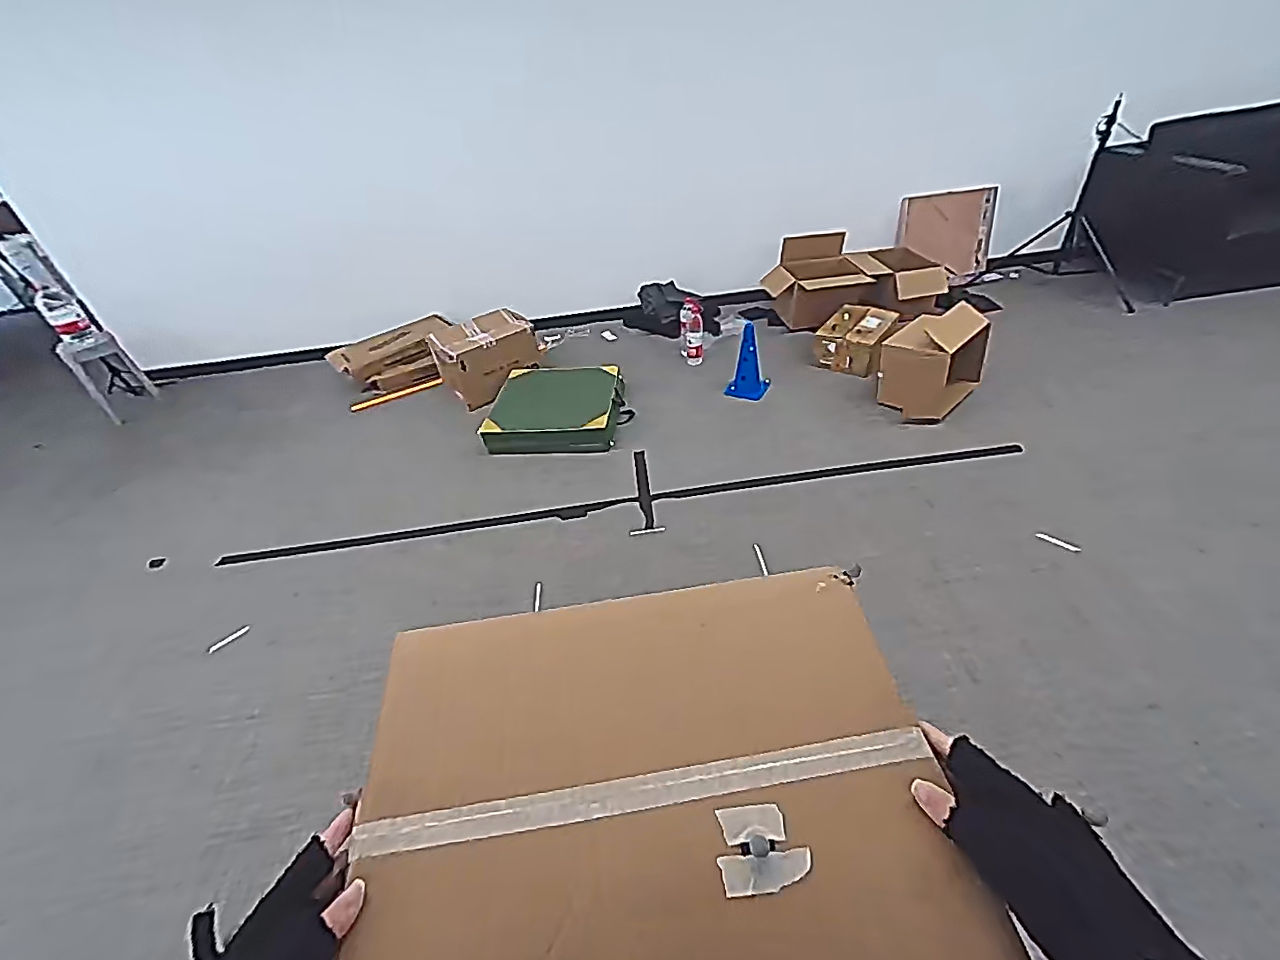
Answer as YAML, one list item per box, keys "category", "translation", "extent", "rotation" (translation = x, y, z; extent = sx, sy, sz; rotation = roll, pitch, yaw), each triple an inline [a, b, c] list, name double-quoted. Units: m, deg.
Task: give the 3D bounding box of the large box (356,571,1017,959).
- category: "large box"
  translation: [0.015, 0.325, 0.503]
  extent: [0.408, 0.320, 0.320]
  rotation: [-8, 47, -3]
